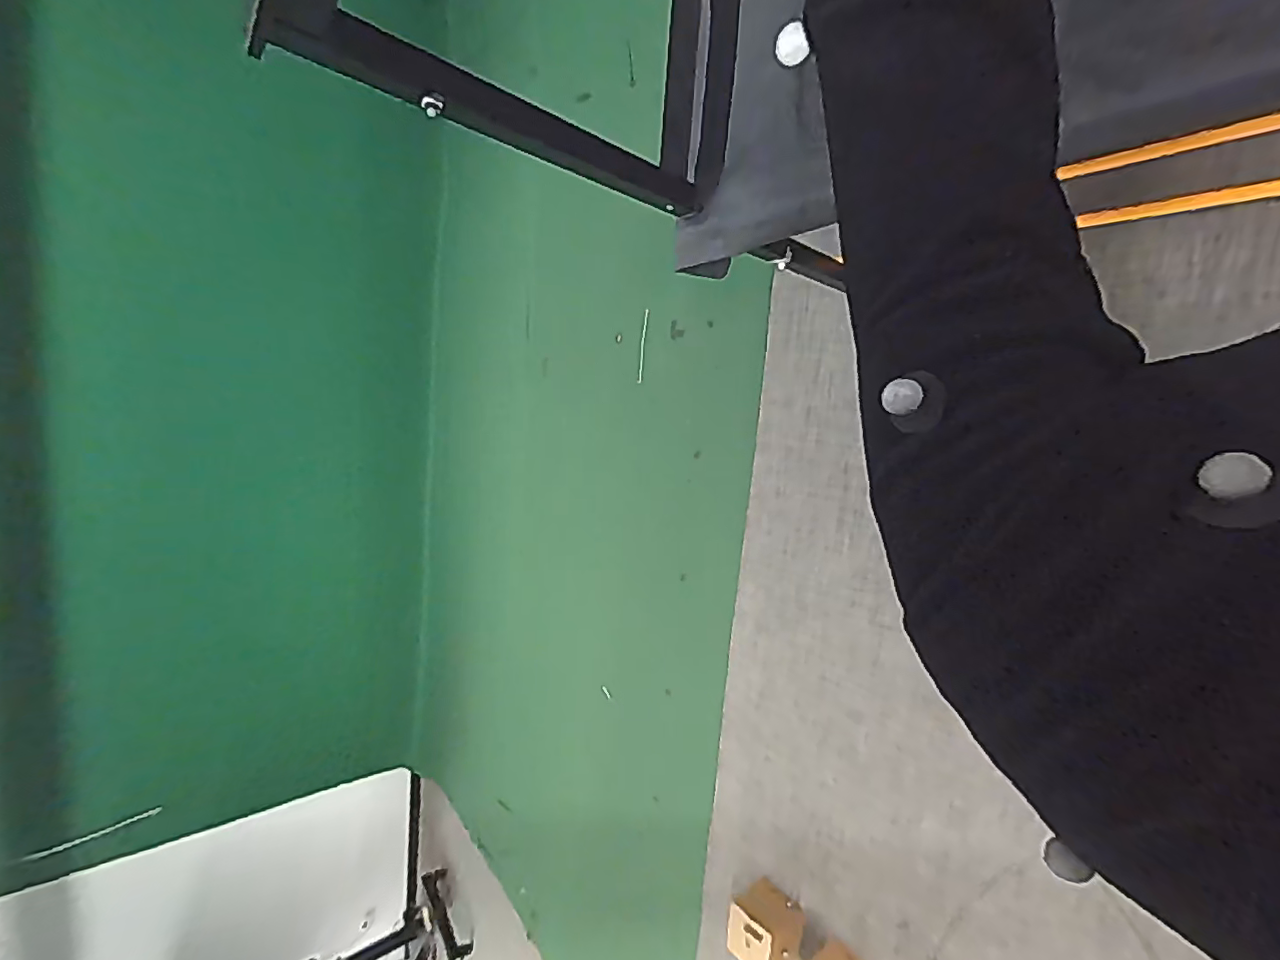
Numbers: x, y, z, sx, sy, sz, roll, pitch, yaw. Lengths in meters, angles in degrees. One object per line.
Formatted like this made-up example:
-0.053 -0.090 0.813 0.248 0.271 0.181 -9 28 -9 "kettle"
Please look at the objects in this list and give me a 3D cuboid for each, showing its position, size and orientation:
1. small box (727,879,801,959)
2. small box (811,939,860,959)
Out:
0.408 1.463 1.766 0.168 0.176 0.179 11 99 50 "small box"
0.579 1.504 1.563 0.168 0.176 0.179 16 101 49 "small box"
